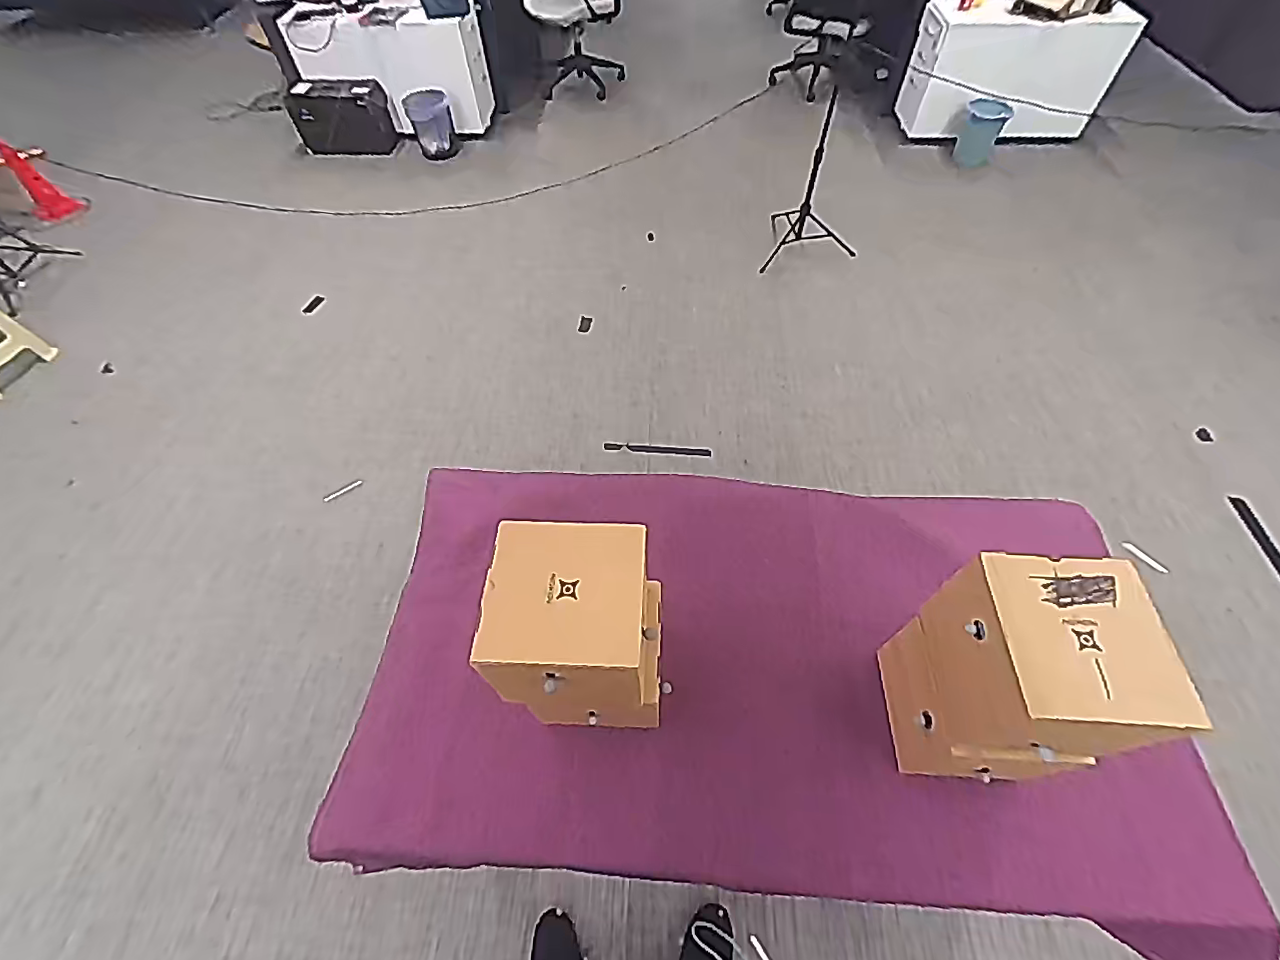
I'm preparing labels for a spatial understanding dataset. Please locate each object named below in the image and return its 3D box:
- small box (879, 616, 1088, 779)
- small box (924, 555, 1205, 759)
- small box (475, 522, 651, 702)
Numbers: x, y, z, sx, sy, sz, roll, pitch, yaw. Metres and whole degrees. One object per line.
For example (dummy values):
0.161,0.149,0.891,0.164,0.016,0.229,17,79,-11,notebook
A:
0.453,0.306,0.750,0.168,0.176,0.179,3,56,3,small box
0.453,0.206,0.619,0.168,0.176,0.179,3,56,3,small box
-0.076,0.165,0.657,0.179,0.176,0.168,1,56,4,small box
